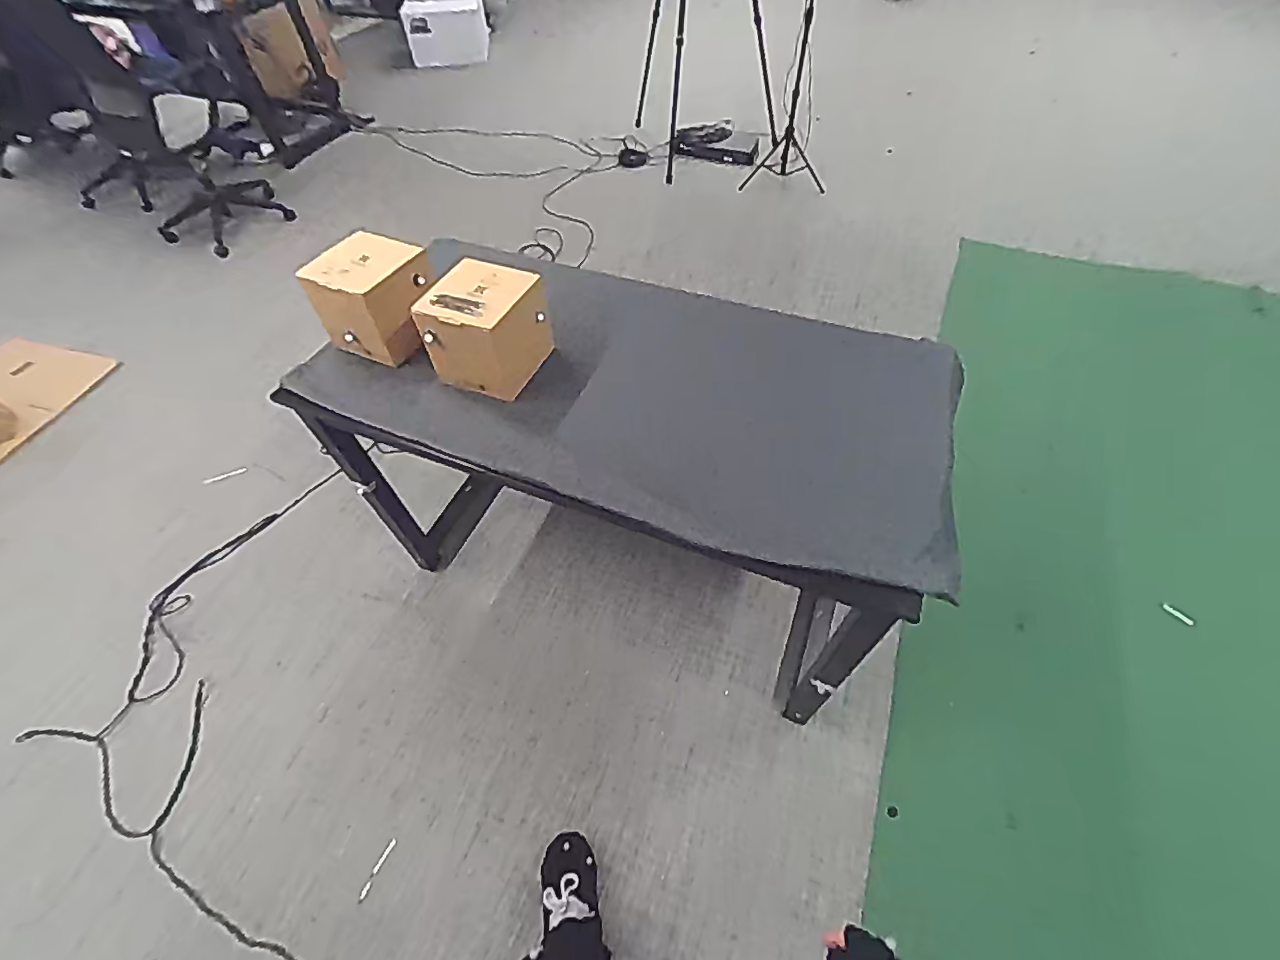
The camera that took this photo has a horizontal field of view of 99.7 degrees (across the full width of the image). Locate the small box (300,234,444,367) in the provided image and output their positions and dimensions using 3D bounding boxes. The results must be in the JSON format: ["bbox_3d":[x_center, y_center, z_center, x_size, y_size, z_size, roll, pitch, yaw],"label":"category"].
[{"bbox_3d":[-0.521,-0.360,1.087,0.168,0.176,0.179,20,55,16],"label":"small box"}]
